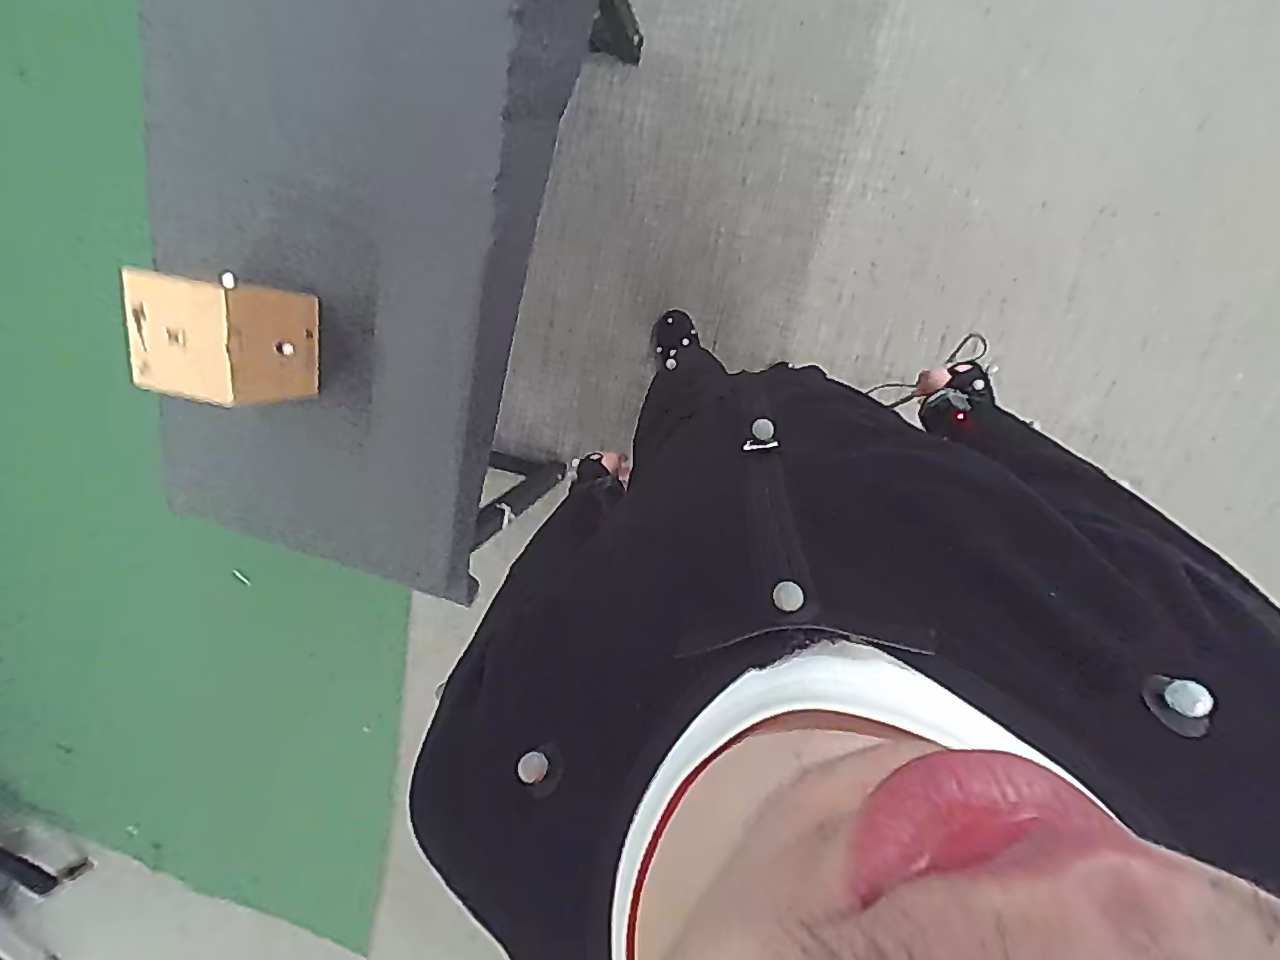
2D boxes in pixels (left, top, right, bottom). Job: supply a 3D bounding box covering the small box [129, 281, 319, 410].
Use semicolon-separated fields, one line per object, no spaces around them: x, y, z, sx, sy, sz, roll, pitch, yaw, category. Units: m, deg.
-0.638;-0.216;0.856;0.179;0.176;0.168;10;107;9;small box
